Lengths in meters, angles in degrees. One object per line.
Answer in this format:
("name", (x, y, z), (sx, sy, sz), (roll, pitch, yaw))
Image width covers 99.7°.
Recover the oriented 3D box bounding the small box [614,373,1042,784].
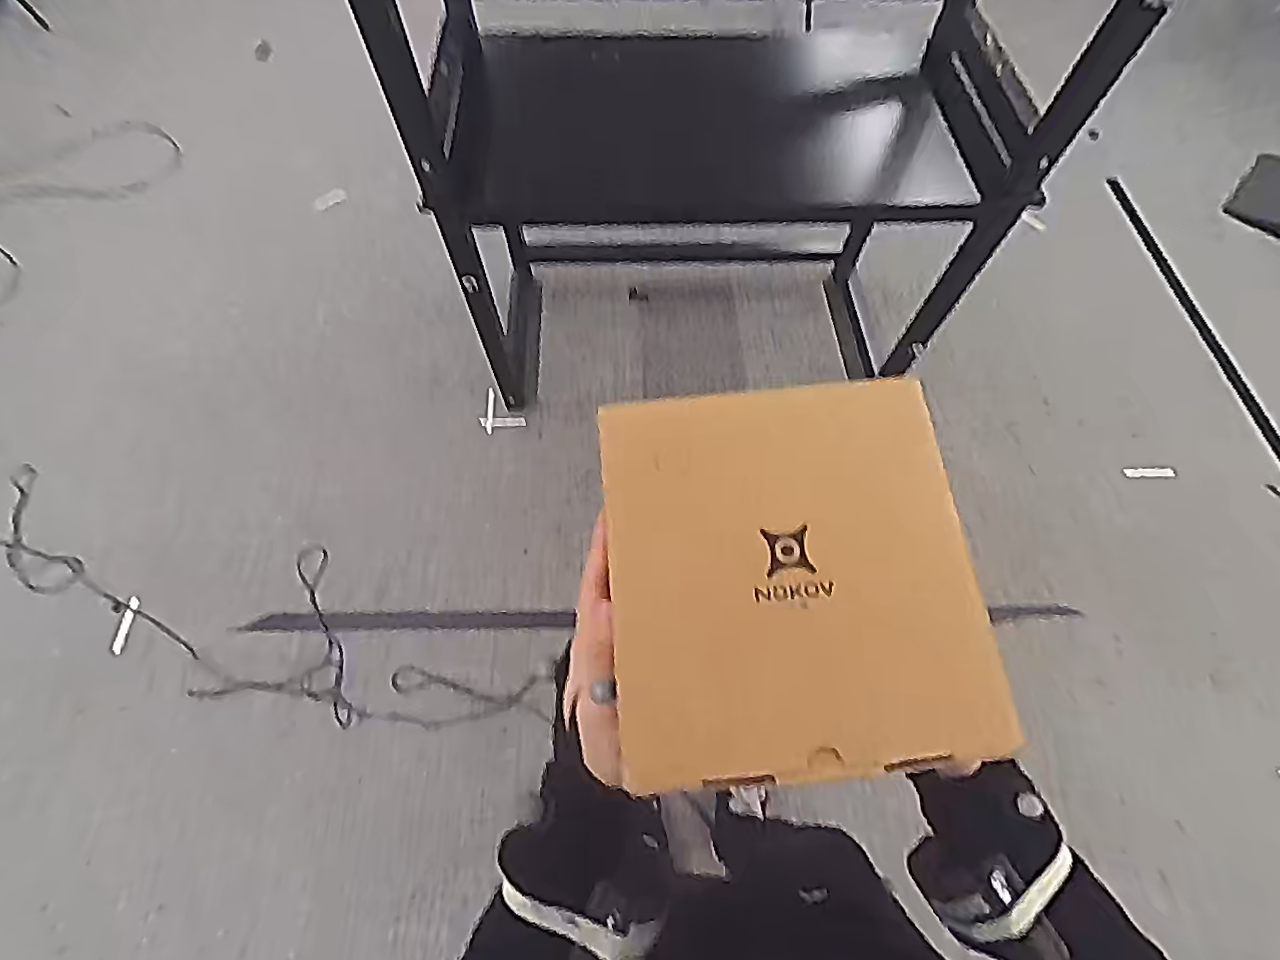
("small box", (0.074, 0.060, 0.318), (0.168, 0.176, 0.179), (-6, 71, -1))
